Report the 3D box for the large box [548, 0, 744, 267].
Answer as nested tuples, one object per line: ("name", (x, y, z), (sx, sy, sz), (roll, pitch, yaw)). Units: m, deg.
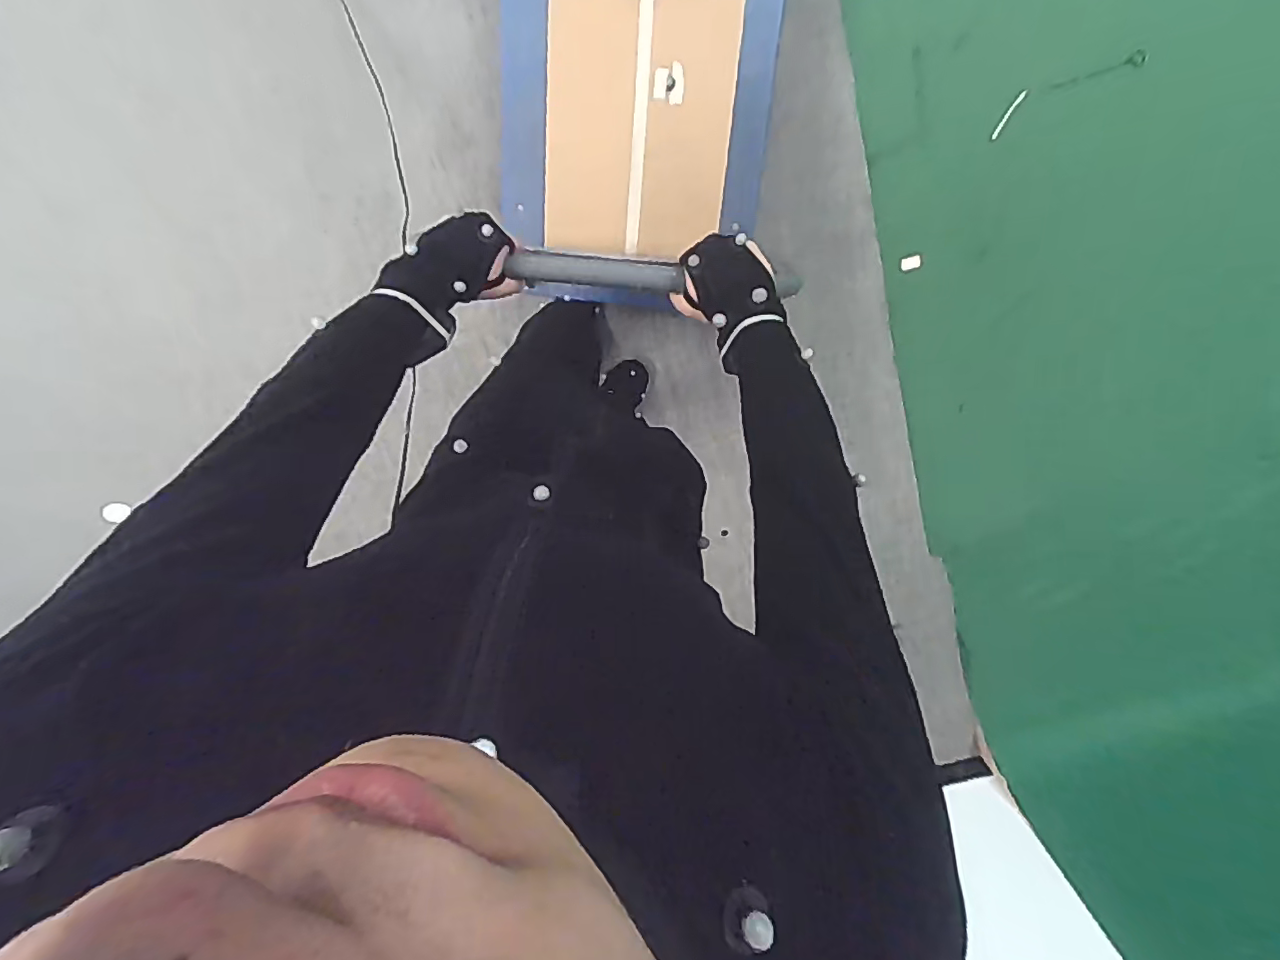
("large box", (0.003, -0.641, 1.054), (0.320, 0.320, 0.408), (4, 109, -1))
